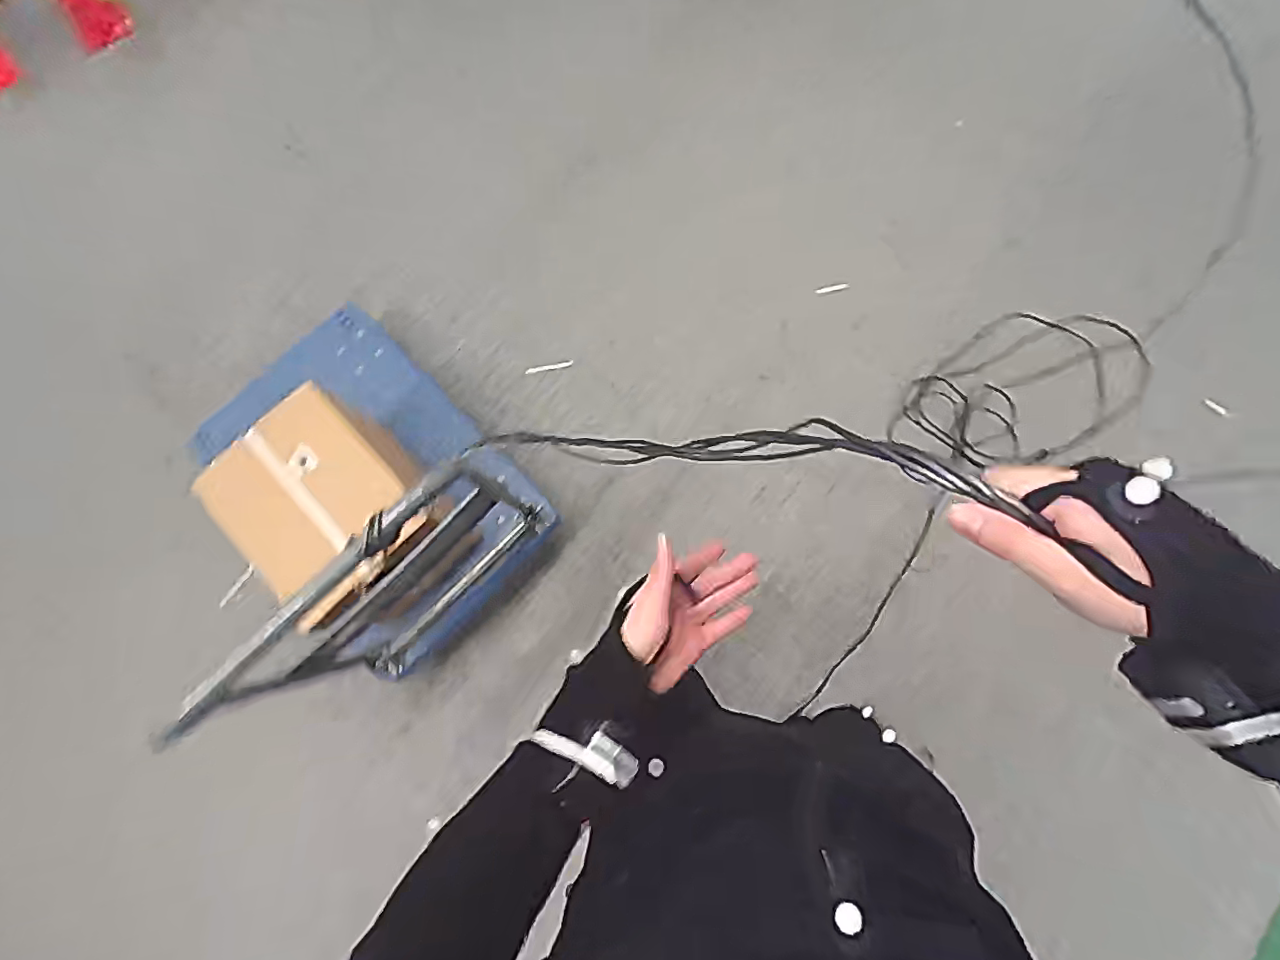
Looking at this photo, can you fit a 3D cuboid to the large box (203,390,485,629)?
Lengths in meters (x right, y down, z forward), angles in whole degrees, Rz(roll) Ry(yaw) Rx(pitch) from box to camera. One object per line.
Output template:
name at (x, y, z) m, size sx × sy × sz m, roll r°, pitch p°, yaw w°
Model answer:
large box at (-0.633, 0.080, 1.218) m, size 0.408 × 0.320 × 0.320 m, roll 44°, pitch 83°, yaw 12°
